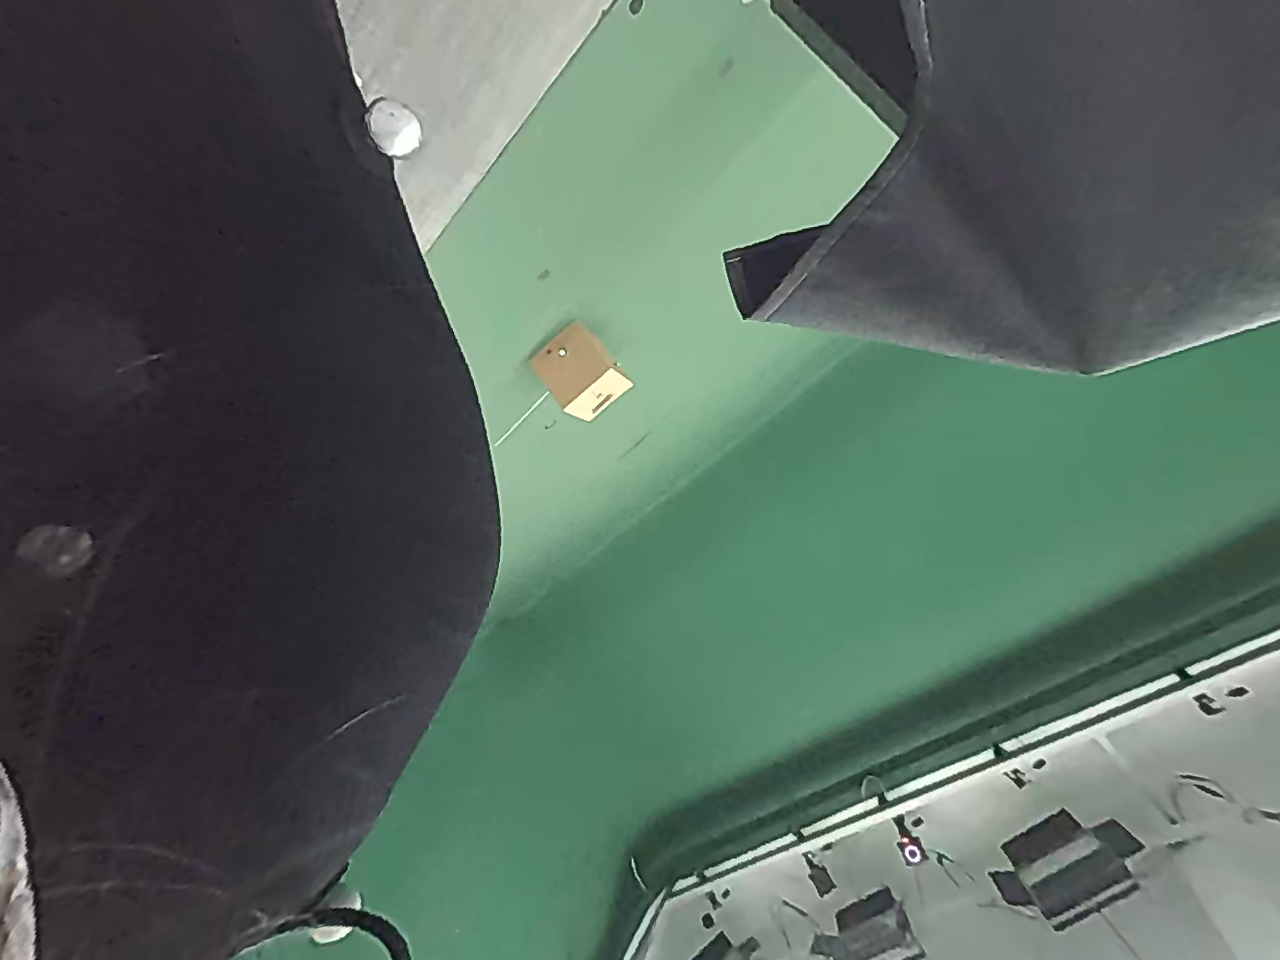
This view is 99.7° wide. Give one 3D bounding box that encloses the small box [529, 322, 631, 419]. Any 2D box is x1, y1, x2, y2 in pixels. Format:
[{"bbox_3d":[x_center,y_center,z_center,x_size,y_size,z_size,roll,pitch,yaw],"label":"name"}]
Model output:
[{"bbox_3d":[-0.155,-0.285,1.421,0.168,0.176,0.179,-39,167,11],"label":"small box"}]
